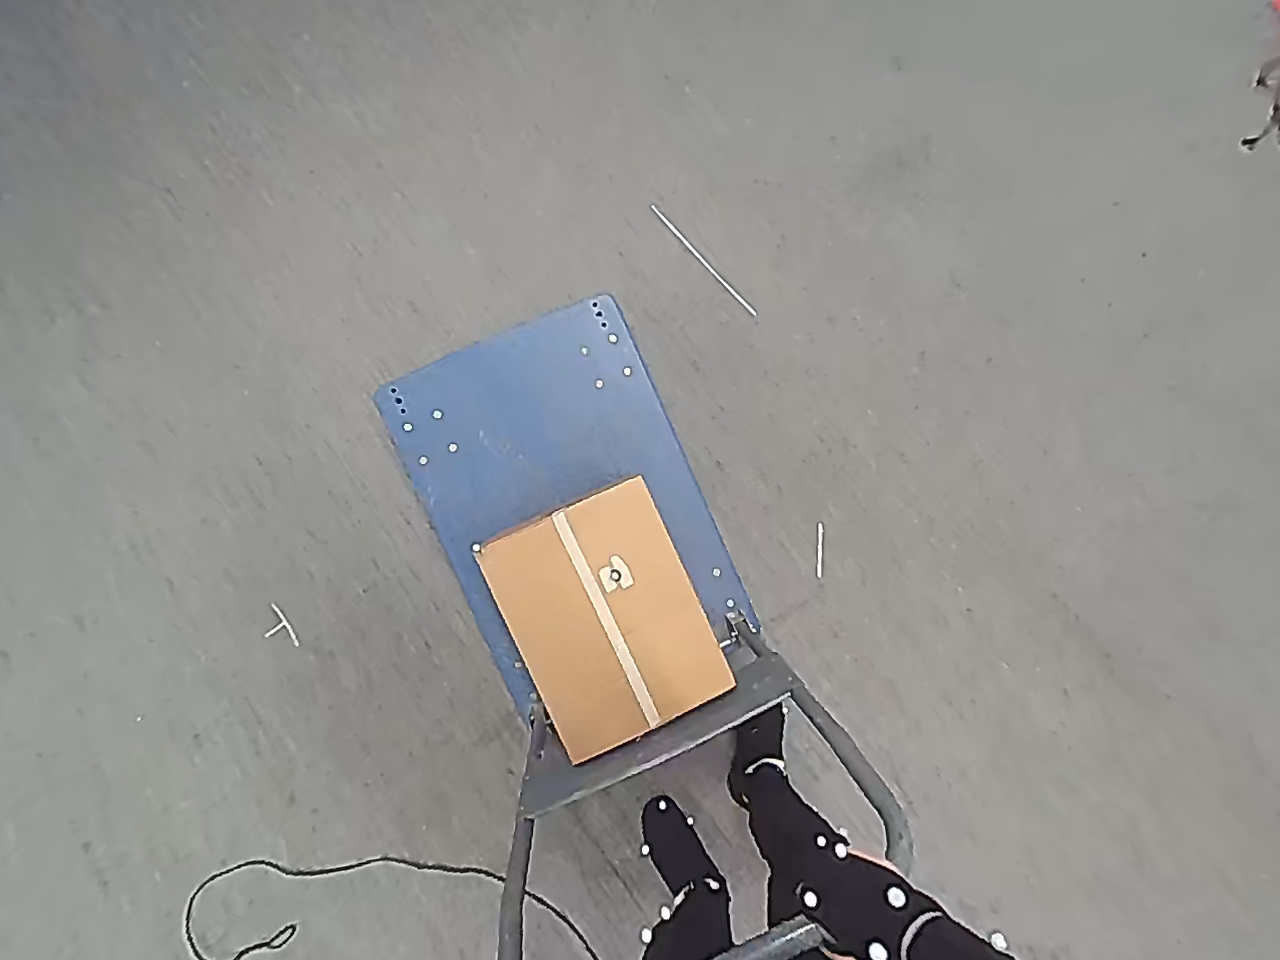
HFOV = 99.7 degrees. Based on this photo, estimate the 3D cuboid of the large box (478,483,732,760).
[{"bbox_3d":[-0.063,0.249,1.089,0.320,0.320,0.408,-25,92,-3],"label":"large box"}]
